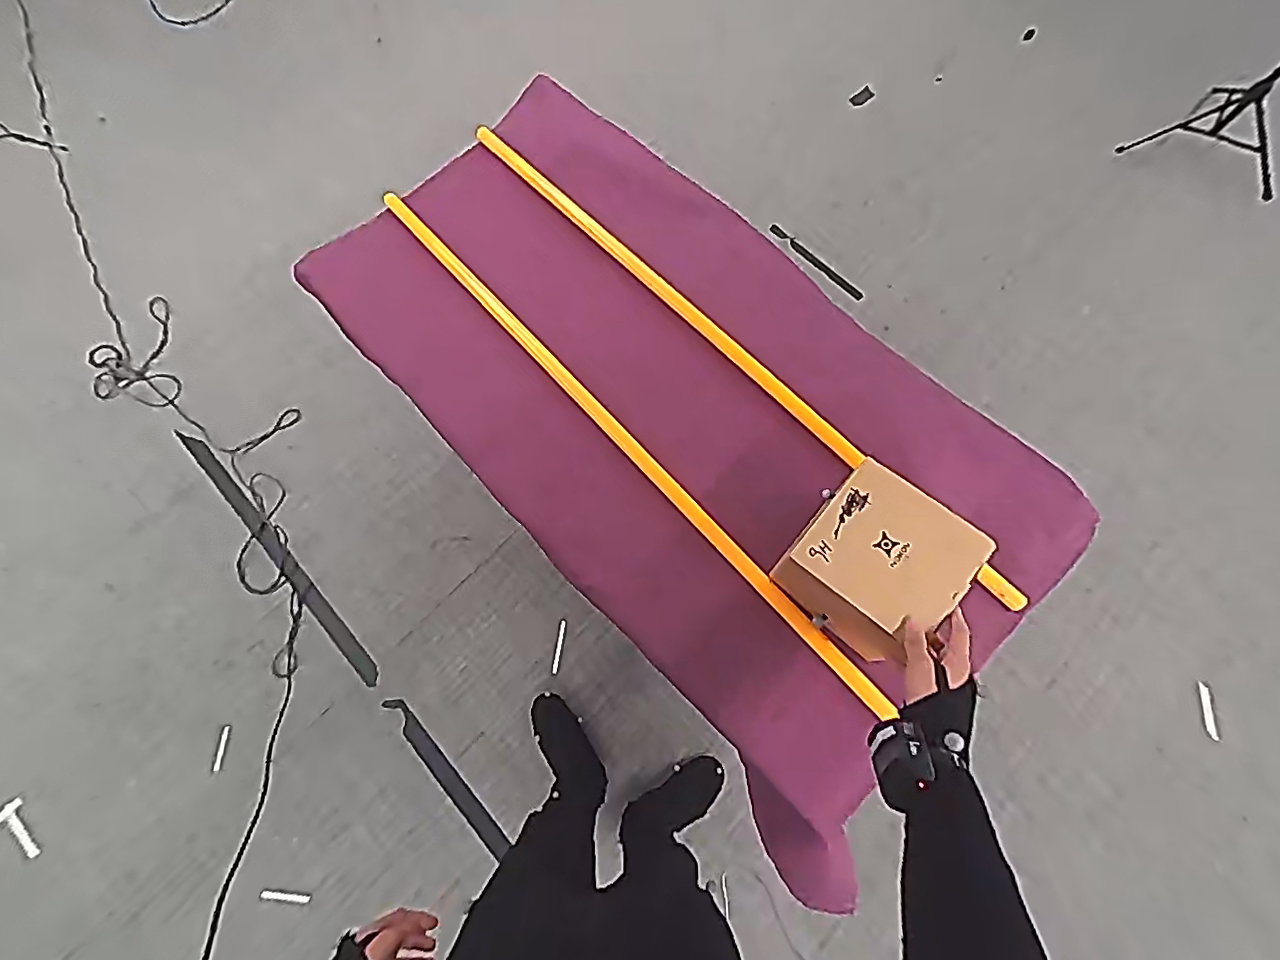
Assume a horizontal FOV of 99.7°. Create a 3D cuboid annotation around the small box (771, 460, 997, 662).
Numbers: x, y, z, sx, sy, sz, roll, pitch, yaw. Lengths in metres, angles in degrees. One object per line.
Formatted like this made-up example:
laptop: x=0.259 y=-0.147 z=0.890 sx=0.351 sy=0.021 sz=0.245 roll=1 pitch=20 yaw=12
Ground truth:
small box: x=0.294 y=0.109 z=0.693 sx=0.179 sy=0.176 sz=0.168 roll=40 pitch=78 yaw=15
